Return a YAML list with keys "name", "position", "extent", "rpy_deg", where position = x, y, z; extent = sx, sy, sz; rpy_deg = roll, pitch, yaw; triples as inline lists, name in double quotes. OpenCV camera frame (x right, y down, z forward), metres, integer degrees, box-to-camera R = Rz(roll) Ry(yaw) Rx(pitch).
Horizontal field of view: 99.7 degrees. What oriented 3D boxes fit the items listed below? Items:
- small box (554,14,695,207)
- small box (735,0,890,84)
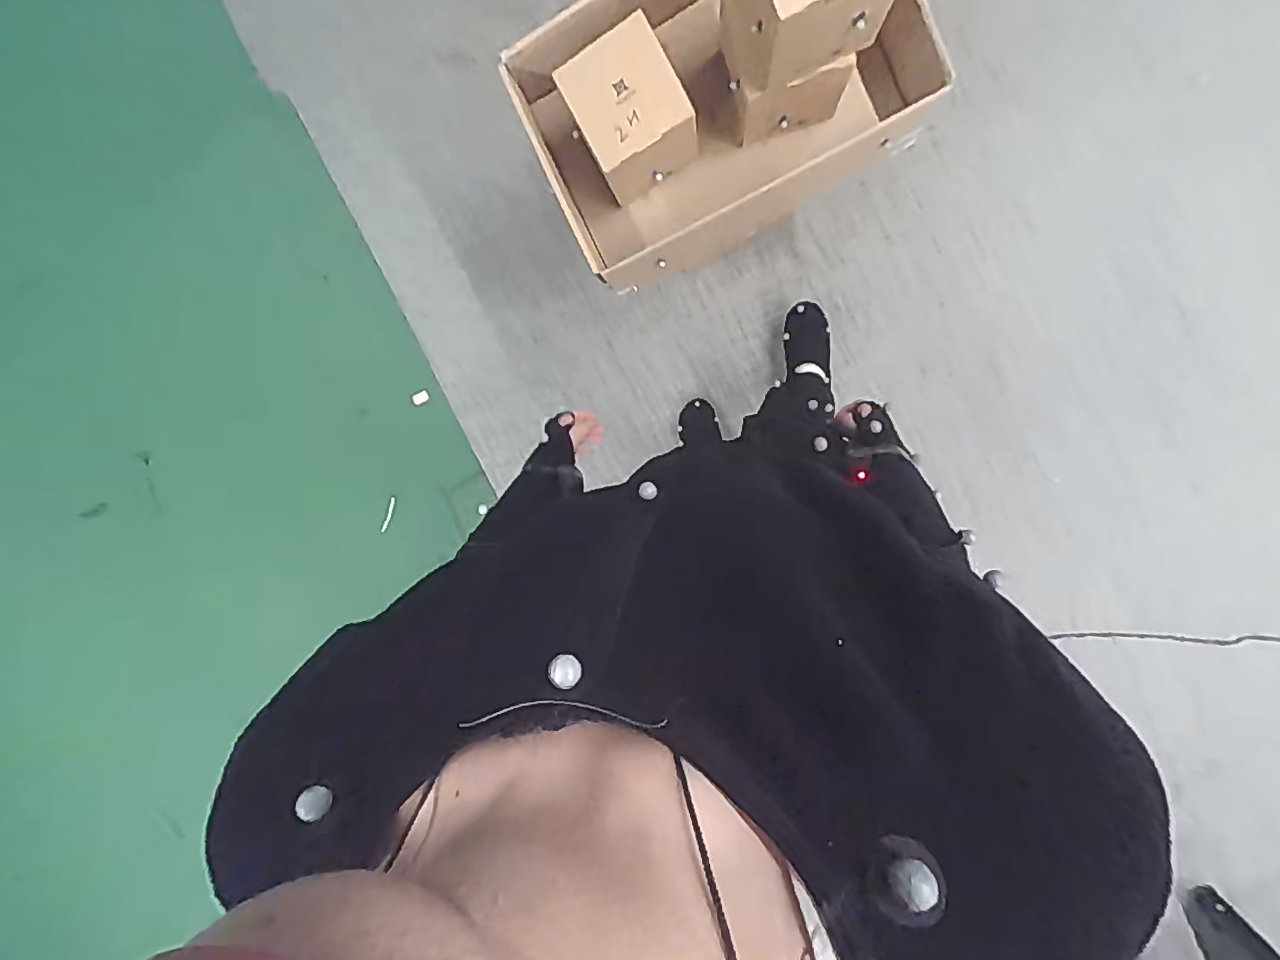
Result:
- name: "small box"
  position: [-0.017, -0.604, 0.912]
  extent: [0.168, 0.176, 0.179]
  rpy_deg: [-28, 94, 11]
- name: "small box"
  position: [0.224, -0.666, 0.708]
  extent: [0.168, 0.176, 0.179]
  rpy_deg: [-19, 96, 9]
